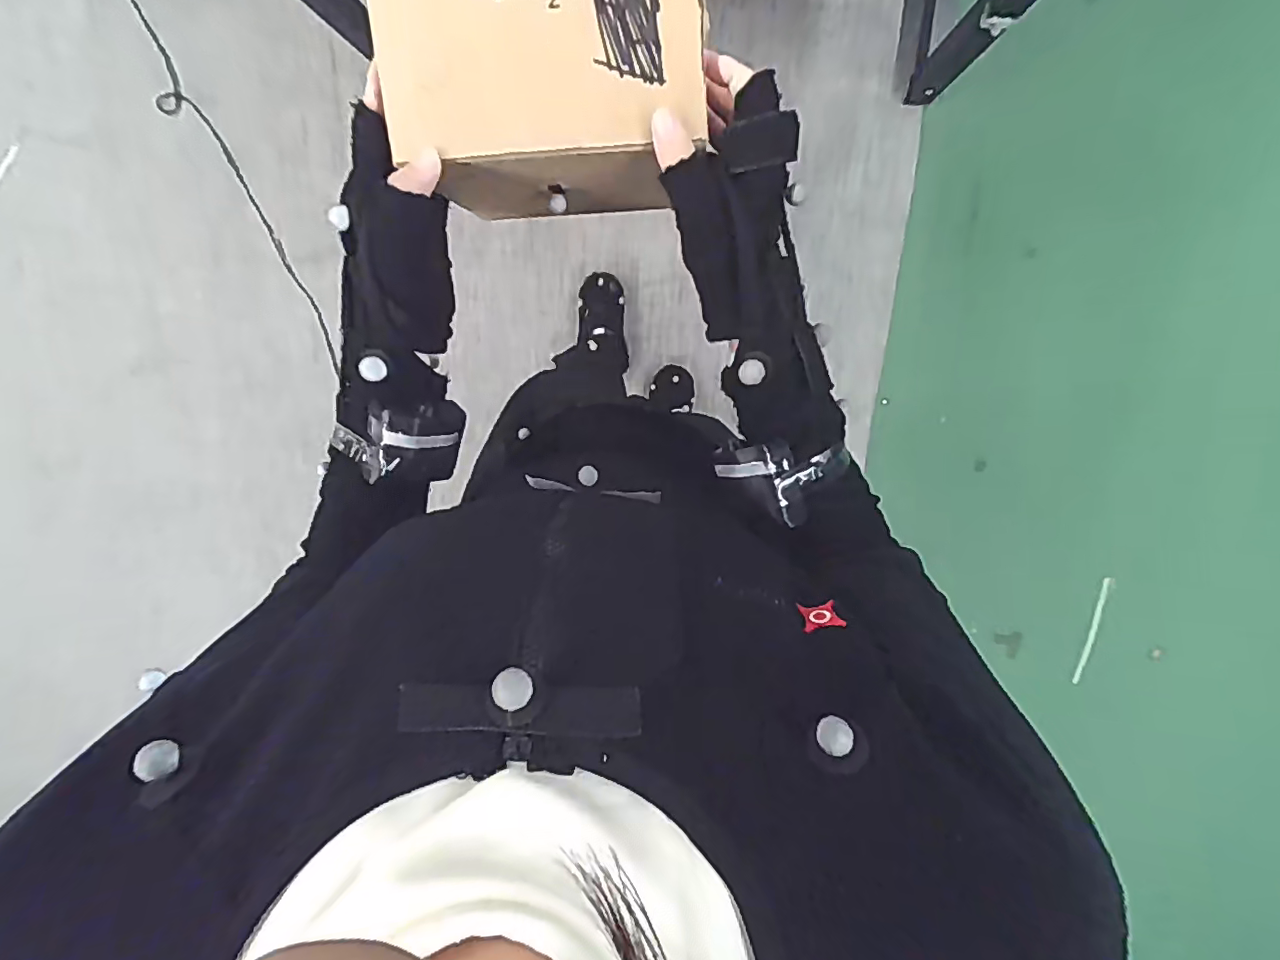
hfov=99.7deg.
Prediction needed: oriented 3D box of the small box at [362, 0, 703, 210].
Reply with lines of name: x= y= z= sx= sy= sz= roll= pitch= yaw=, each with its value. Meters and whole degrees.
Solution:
small box: x=-0.055 y=-0.284 z=0.349 sx=0.179 sy=0.176 sz=0.168 roll=-3 pitch=106 yaw=4
